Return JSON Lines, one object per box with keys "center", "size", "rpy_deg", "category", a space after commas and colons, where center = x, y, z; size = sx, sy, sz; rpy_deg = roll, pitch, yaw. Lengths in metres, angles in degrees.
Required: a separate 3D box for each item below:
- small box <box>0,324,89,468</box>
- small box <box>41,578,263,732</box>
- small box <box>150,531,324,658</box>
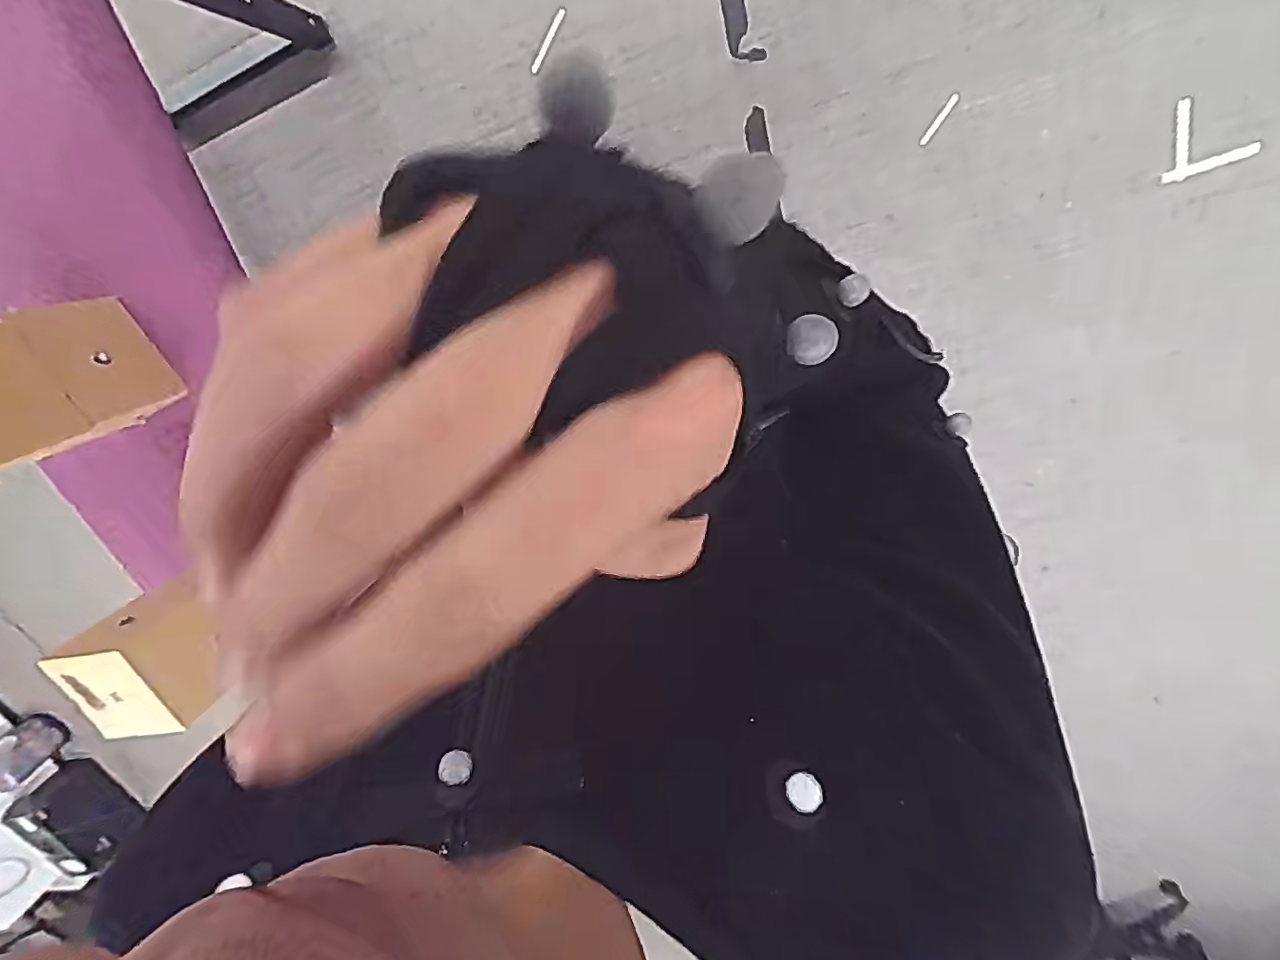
{"center": [-0.920, -0.093, 0.721], "size": [0.168, 0.176, 0.179], "rpy_deg": [-15, 114, 16], "category": "small box"}
{"center": [-0.781, 0.282, 0.887], "size": [0.179, 0.176, 0.168], "rpy_deg": [-11, 114, 14], "category": "small box"}
{"center": [-0.757, 0.221, 1.038], "size": [0.168, 0.176, 0.179], "rpy_deg": [-10, 114, 15], "category": "small box"}
